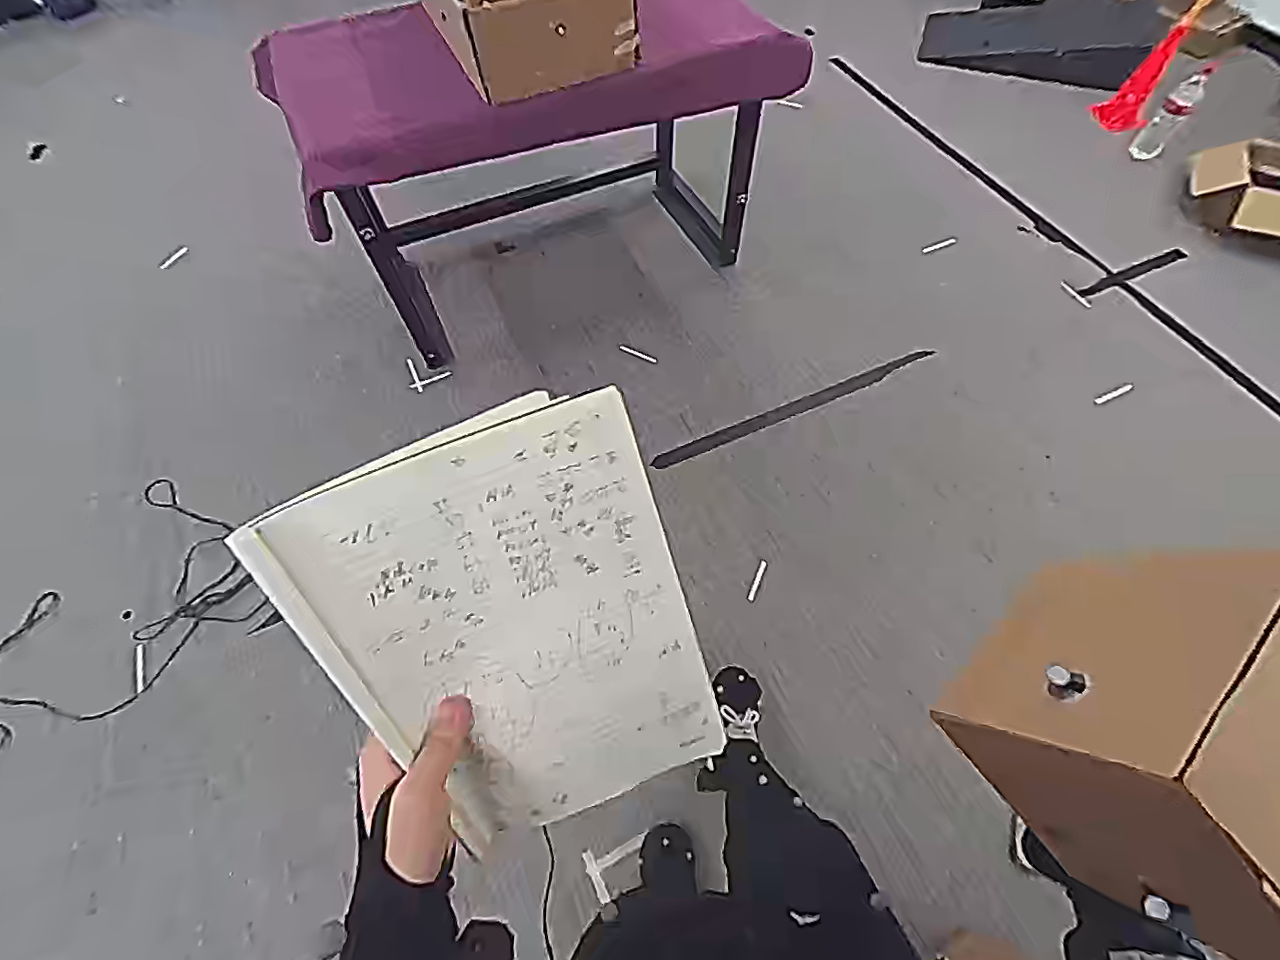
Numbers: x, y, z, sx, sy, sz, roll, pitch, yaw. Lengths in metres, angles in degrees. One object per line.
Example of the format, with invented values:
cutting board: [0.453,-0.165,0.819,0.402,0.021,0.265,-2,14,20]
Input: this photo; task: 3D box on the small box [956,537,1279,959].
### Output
small box: [0.347,0.159,0.345,0.179,0.176,0.168,-41,89,-17]
